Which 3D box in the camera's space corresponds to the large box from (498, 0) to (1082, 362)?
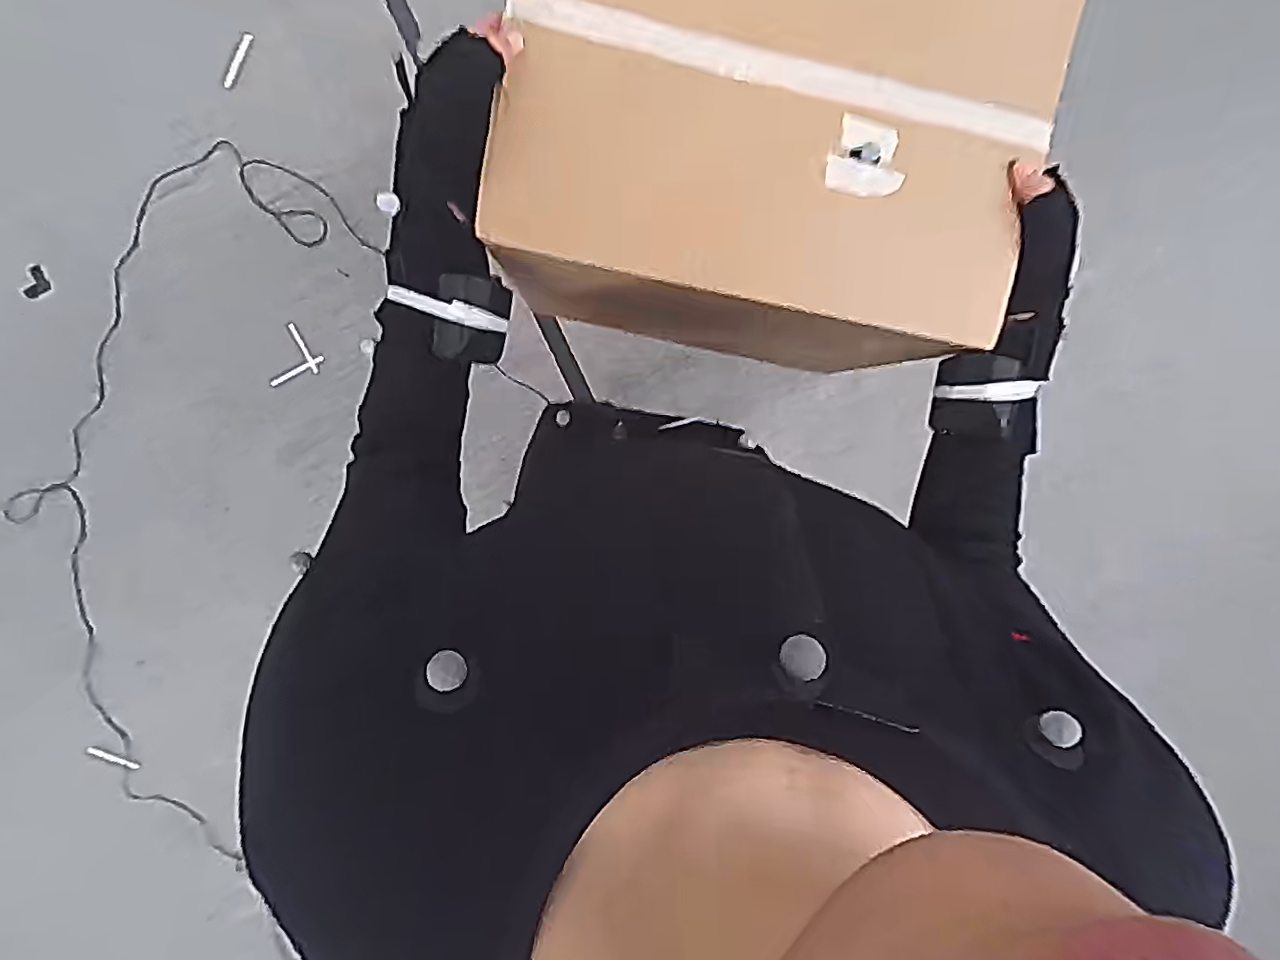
[{"bbox_3d":[0.103,-0.319,0.542,0.408,0.320,0.320,11,98,-6],"label":"large box"}]
